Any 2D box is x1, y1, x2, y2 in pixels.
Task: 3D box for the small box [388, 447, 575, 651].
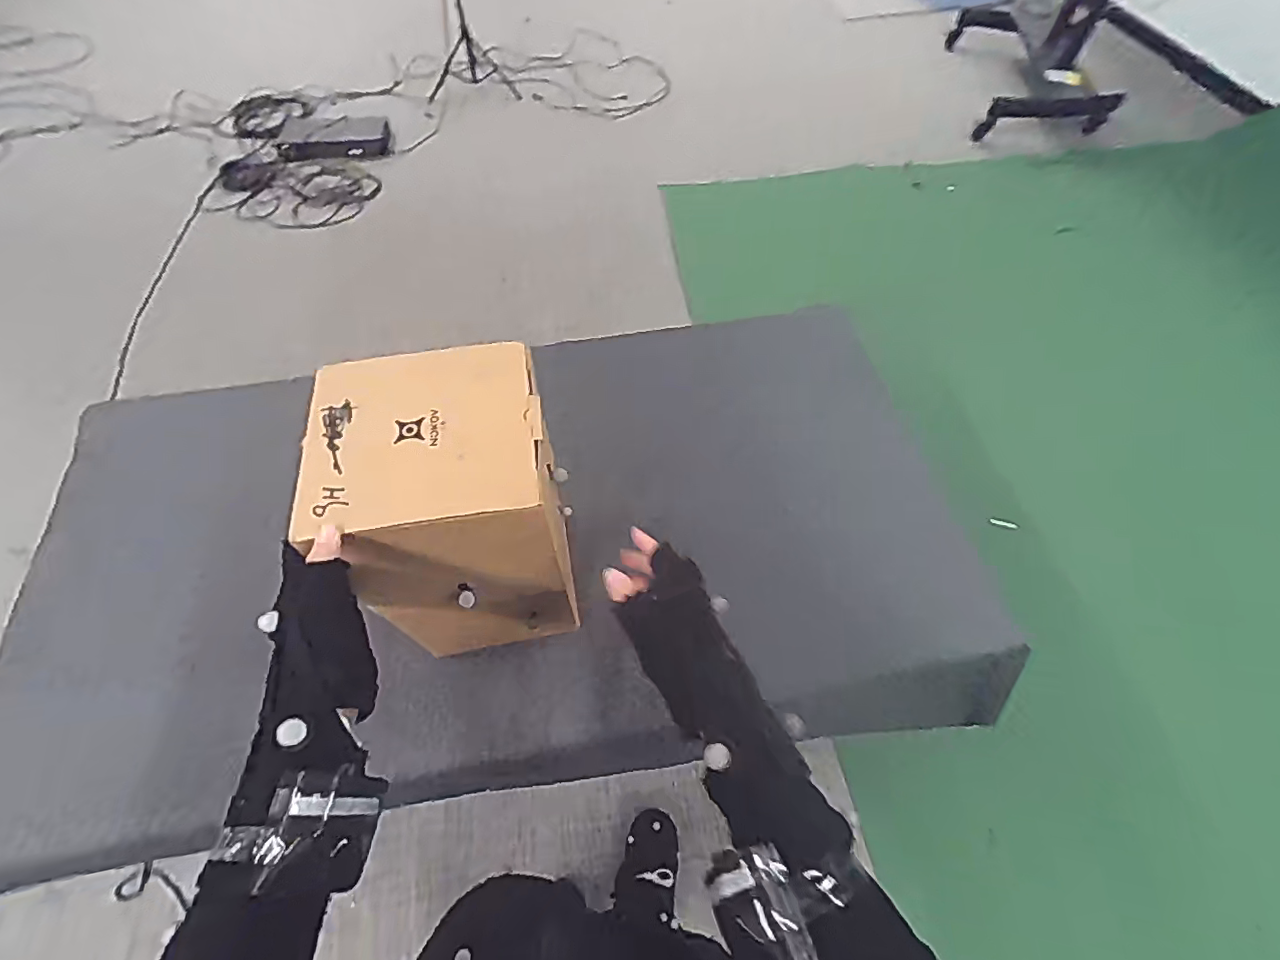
[{"bbox_3d":[-0.175,0.086,0.636,0.179,0.176,0.168,-11,59,-6],"label":"small box"}]
